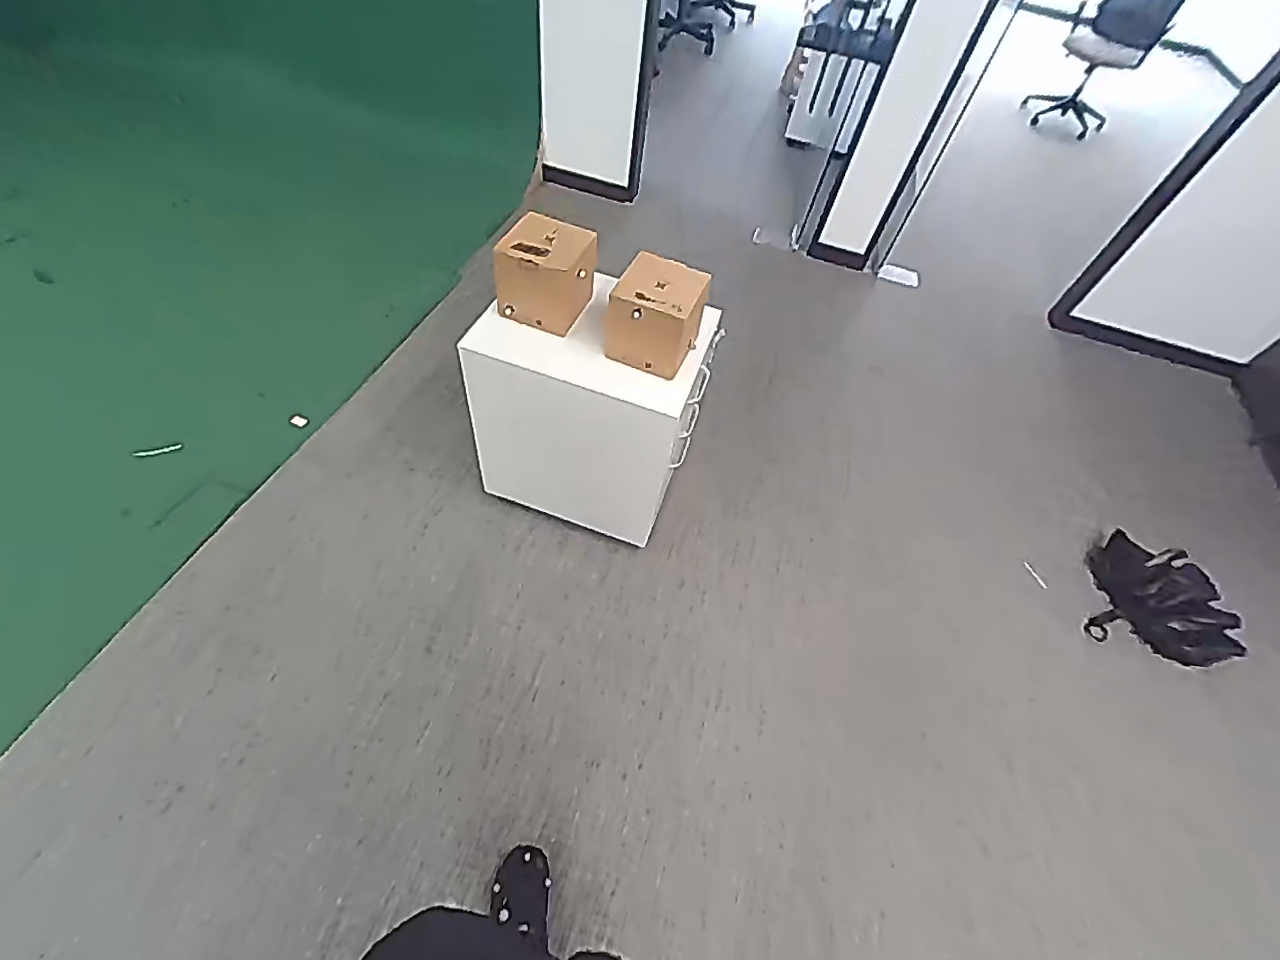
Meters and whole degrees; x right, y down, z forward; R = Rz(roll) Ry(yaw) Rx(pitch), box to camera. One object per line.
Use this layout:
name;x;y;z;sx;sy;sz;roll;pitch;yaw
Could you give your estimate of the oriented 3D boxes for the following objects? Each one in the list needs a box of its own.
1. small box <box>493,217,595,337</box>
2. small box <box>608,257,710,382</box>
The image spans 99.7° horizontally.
small box;-0.210;-0.453;1.219;0.168;0.176;0.179;20;53;5
small box;0.035;-0.348;1.179;0.168;0.176;0.179;21;53;8
